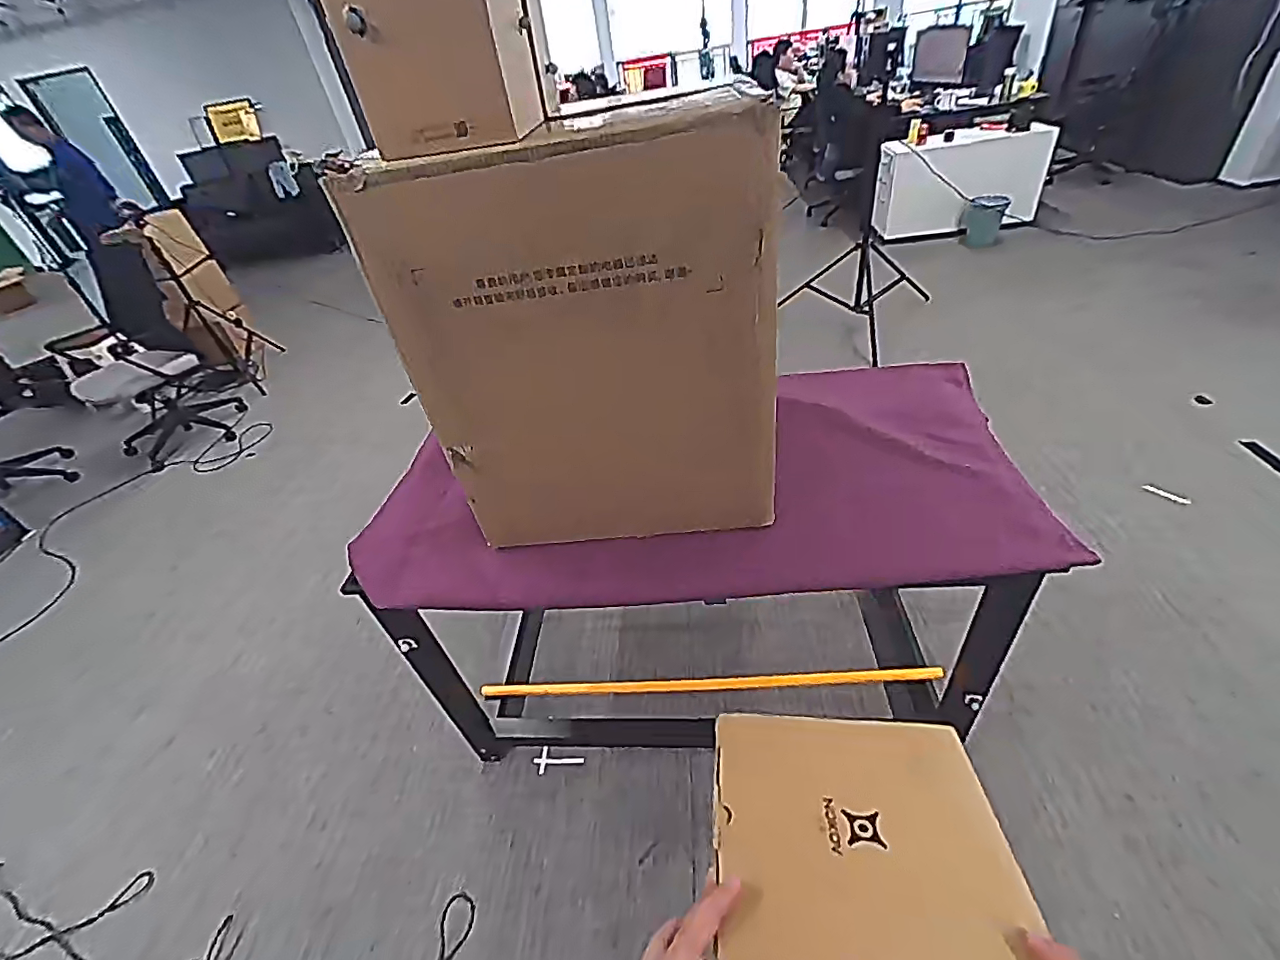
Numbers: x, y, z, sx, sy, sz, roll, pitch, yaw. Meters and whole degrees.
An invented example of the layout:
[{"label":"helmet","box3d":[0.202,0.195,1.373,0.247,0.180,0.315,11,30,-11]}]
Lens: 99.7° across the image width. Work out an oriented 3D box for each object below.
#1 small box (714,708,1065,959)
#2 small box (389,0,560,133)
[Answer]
[{"label":"small box","box3d":[0.140,0.286,0.369,0.179,0.176,0.168,-1,25,8]},{"label":"small box","box3d":[-0.224,-0.607,0.766,0.179,0.176,0.168,-6,39,4]}]
